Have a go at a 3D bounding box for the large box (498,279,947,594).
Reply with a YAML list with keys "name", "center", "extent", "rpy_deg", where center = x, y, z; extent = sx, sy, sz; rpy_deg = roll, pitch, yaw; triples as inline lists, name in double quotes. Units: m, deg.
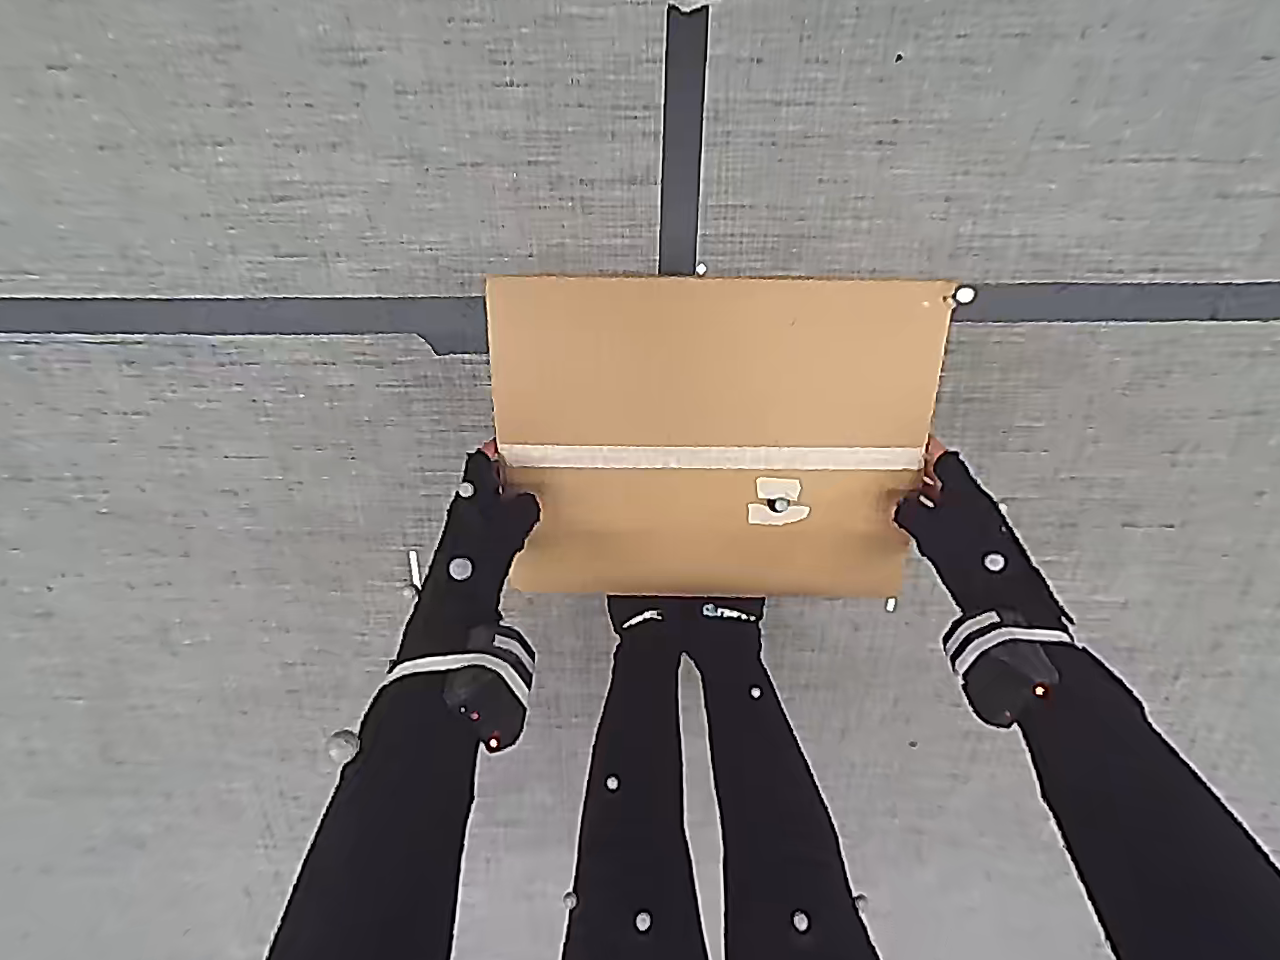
- name: "large box"
  center: [0.072, -0.074, 0.662]
  extent: [0.408, 0.320, 0.320]
  rpy_deg: [0, 110, 0]
